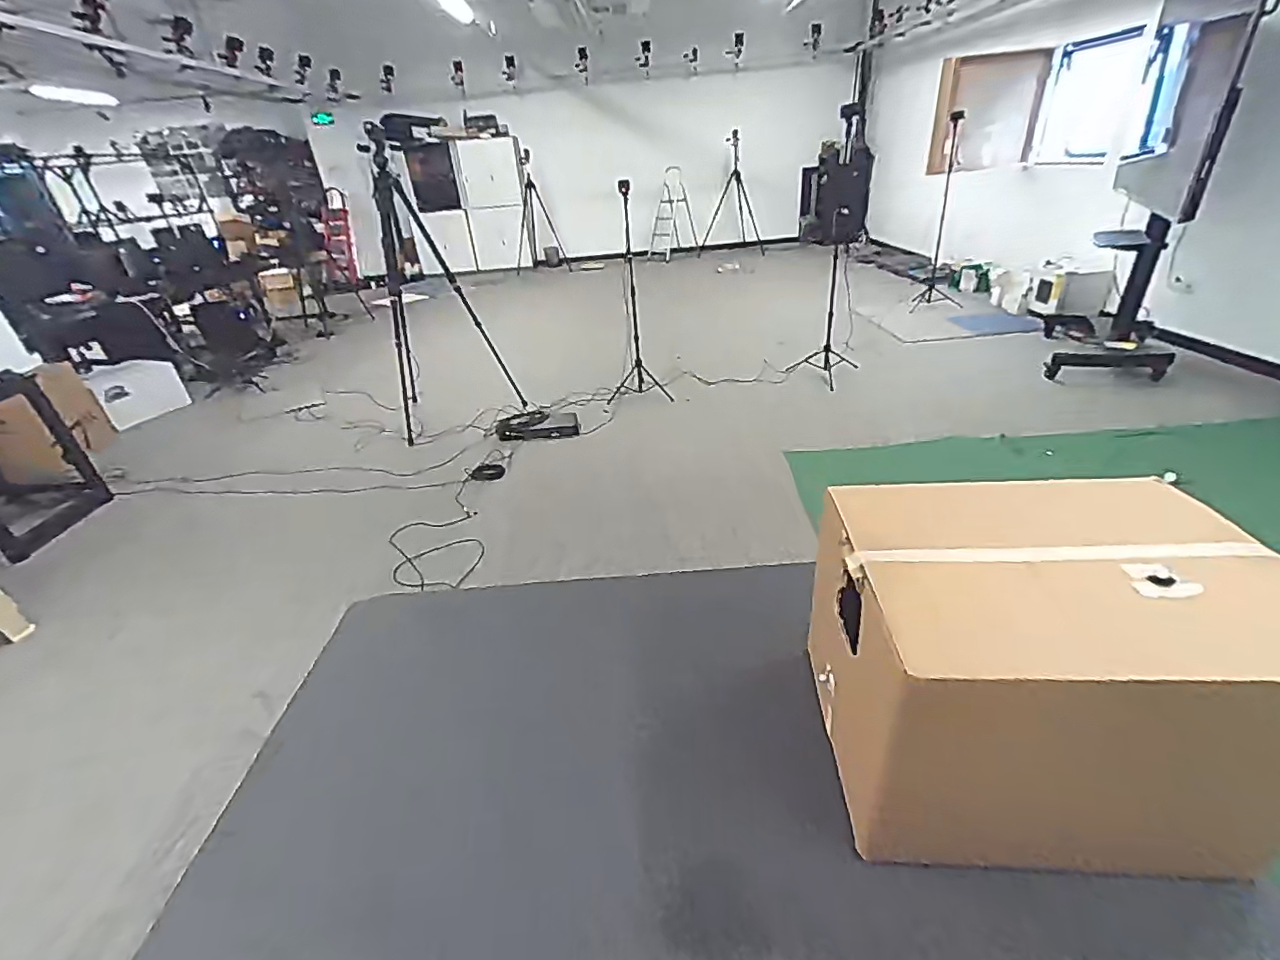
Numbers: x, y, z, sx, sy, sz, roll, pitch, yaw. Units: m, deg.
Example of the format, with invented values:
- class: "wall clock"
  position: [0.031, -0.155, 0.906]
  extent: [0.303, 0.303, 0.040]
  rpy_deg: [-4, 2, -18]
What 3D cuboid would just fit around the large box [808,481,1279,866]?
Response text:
- class: "large box"
  position: [0.445, 0.211, 0.642]
  extent: [0.408, 0.320, 0.320]
  rpy_deg: [-1, 31, 6]
